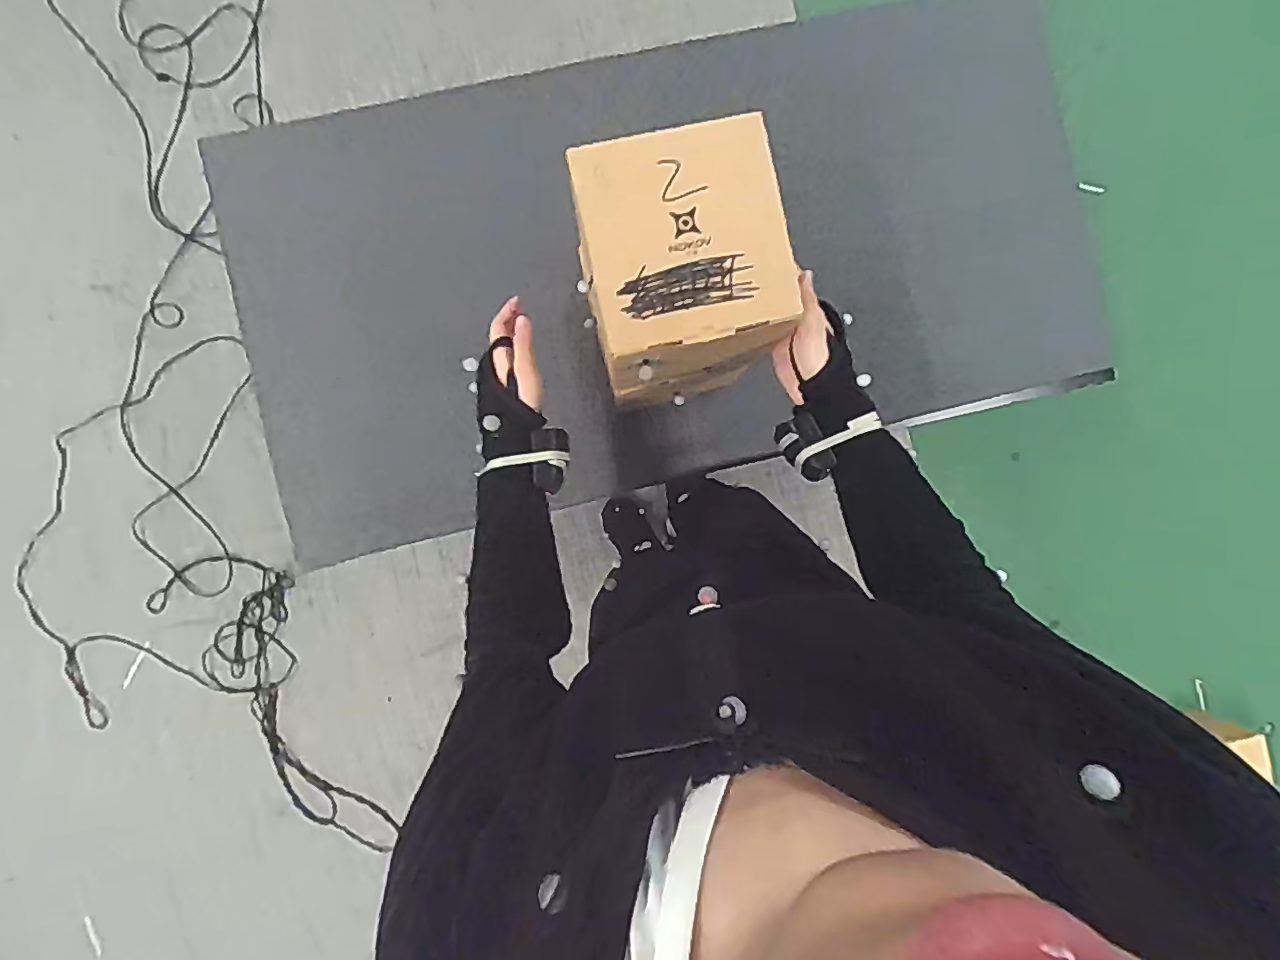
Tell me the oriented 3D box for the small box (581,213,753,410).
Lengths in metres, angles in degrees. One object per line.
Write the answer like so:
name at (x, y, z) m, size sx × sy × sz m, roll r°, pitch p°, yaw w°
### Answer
small box at (0.028, -0.201, 0.692) m, size 0.168 × 0.176 × 0.179 m, roll -15°, pitch 91°, yaw -1°

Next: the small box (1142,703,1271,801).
small box at (1.561, 0.744, 1.498) m, size 0.179 × 0.176 × 0.168 m, roll -12°, pitch 91°, yaw -2°
